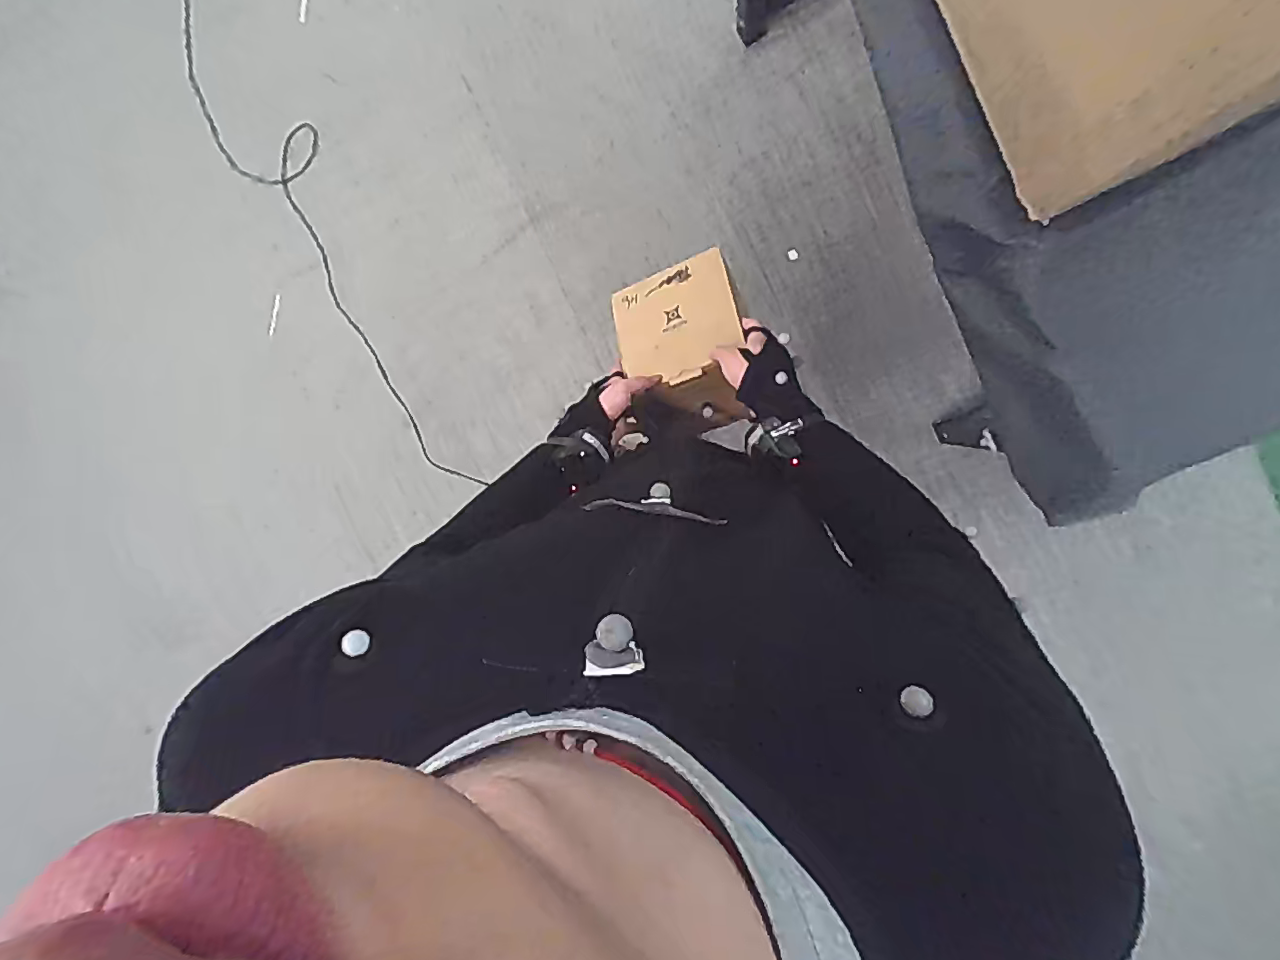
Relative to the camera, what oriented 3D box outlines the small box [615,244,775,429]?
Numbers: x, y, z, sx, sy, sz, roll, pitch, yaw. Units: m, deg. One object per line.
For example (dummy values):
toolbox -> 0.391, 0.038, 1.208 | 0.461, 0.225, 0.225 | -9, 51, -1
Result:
small box -> 0.083, -0.188, 0.776 | 0.168, 0.176, 0.179 | -18, 65, 20
